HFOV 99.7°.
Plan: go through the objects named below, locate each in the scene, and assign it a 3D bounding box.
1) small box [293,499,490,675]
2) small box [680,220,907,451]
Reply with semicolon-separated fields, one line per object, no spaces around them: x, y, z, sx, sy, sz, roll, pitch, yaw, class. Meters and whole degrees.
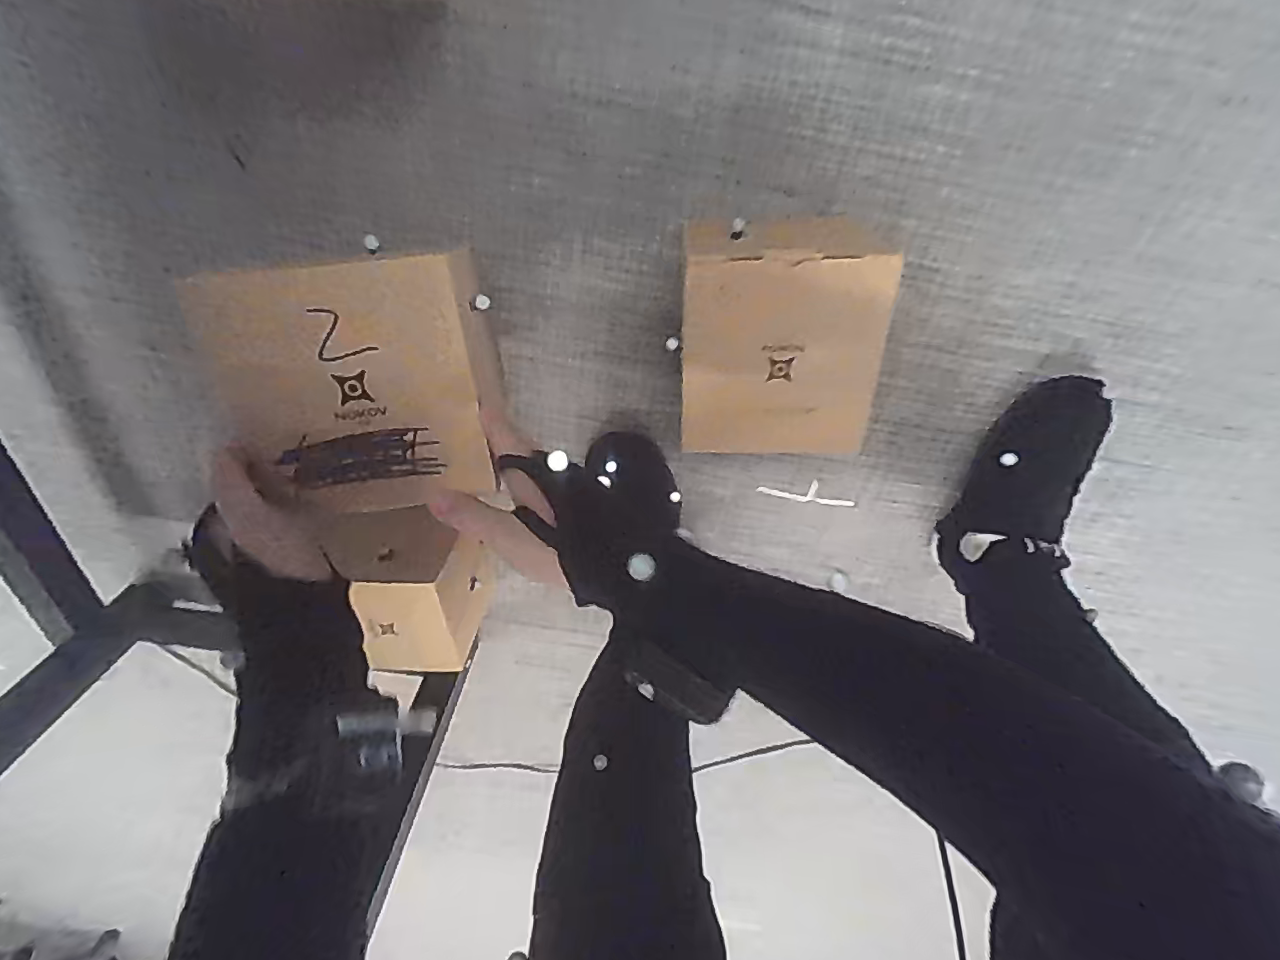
-0.312;0.138;0.729;0.179;0.176;0.168;2;123;3;small box
0.124;-0.144;0.516;0.168;0.176;0.179;1;124;4;small box
